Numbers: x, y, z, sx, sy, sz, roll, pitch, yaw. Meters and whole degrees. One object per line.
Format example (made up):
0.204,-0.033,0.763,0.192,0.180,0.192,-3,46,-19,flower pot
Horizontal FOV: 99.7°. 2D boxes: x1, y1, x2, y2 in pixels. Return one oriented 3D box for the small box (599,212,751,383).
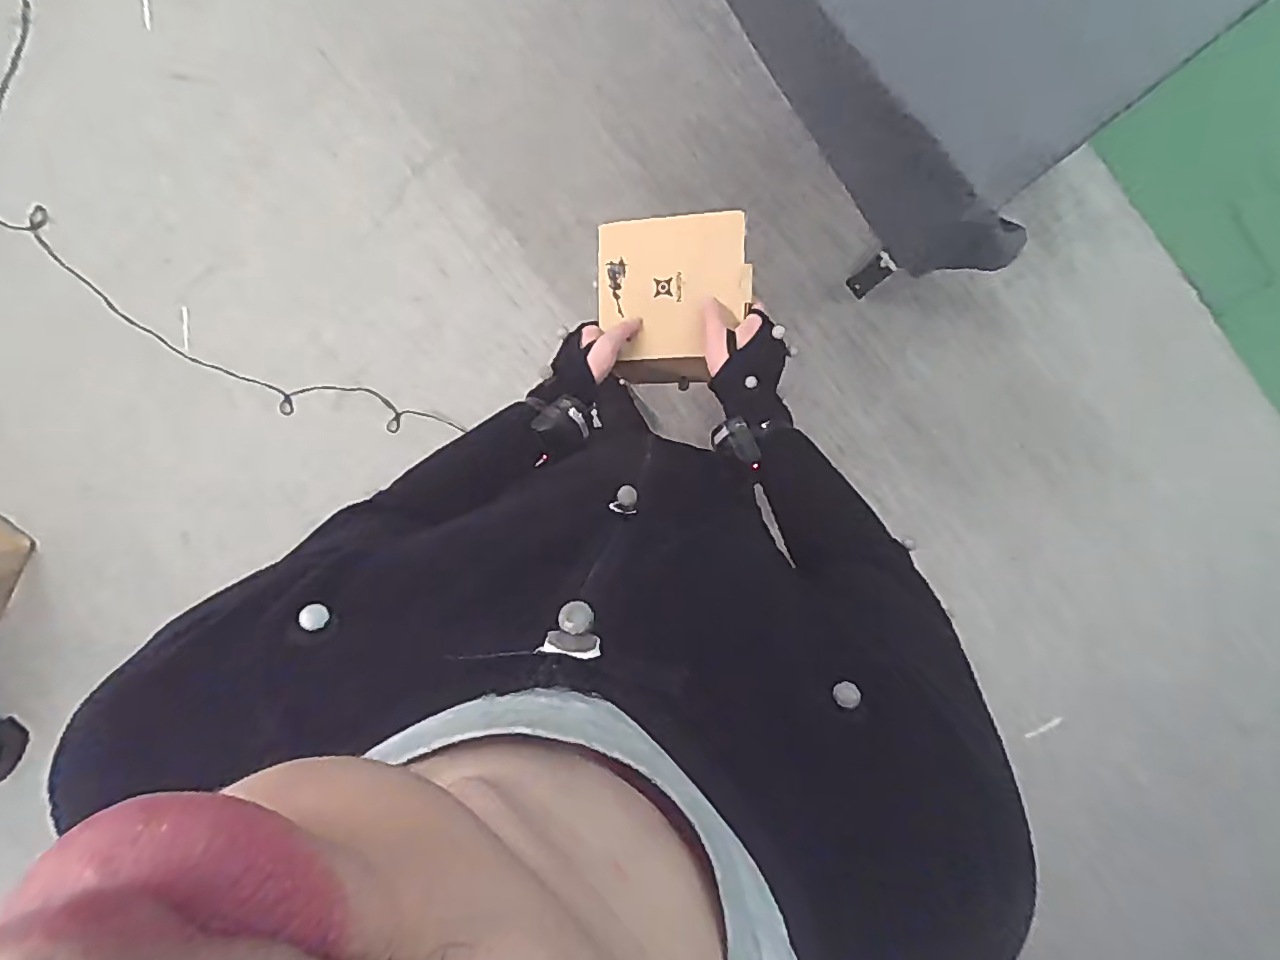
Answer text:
0.049,-0.222,0.699,0.179,0.176,0.168,0,90,9,small box
